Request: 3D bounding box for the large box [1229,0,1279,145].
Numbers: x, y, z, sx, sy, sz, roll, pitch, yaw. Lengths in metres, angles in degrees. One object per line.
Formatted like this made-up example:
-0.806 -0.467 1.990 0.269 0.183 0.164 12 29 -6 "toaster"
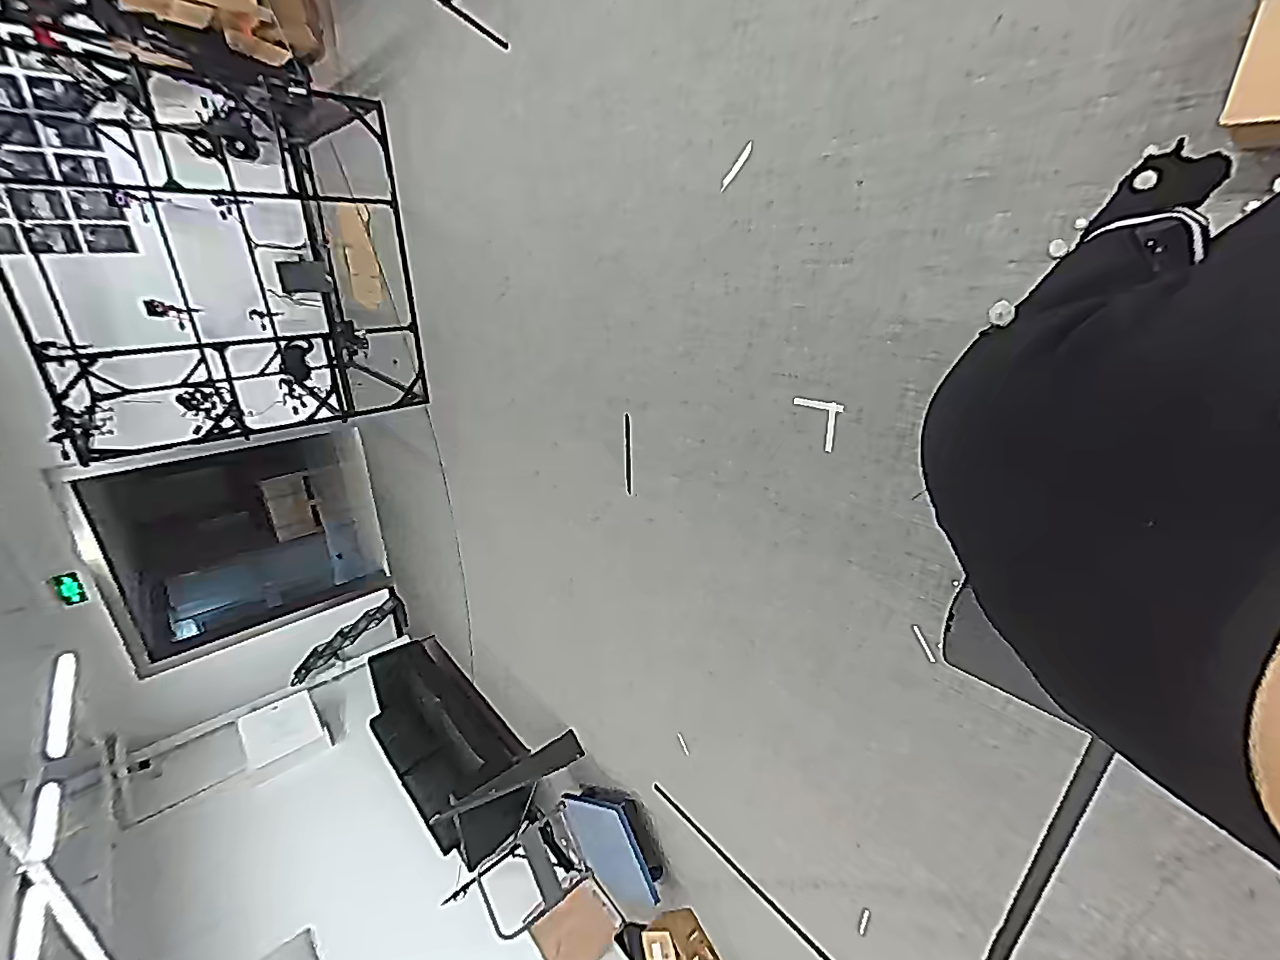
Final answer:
1.067 -0.633 0.662 0.408 0.320 0.320 23 123 43 "large box"
